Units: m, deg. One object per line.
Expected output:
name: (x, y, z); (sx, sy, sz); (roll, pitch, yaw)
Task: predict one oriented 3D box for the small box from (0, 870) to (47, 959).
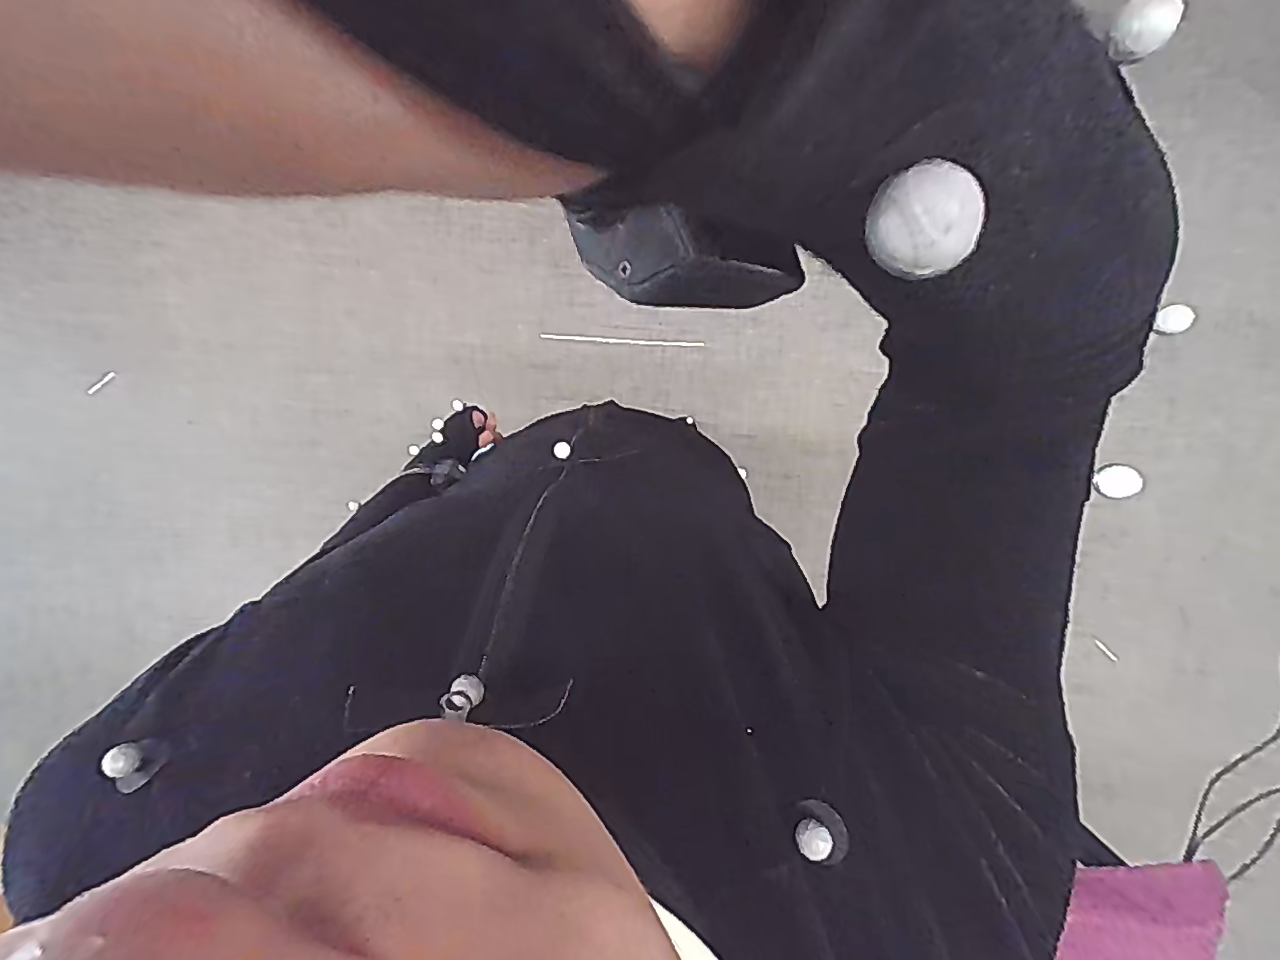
small box: (-1.543, 1.036, 1.243); (0.179, 0.176, 0.168); (5, 94, -1)
